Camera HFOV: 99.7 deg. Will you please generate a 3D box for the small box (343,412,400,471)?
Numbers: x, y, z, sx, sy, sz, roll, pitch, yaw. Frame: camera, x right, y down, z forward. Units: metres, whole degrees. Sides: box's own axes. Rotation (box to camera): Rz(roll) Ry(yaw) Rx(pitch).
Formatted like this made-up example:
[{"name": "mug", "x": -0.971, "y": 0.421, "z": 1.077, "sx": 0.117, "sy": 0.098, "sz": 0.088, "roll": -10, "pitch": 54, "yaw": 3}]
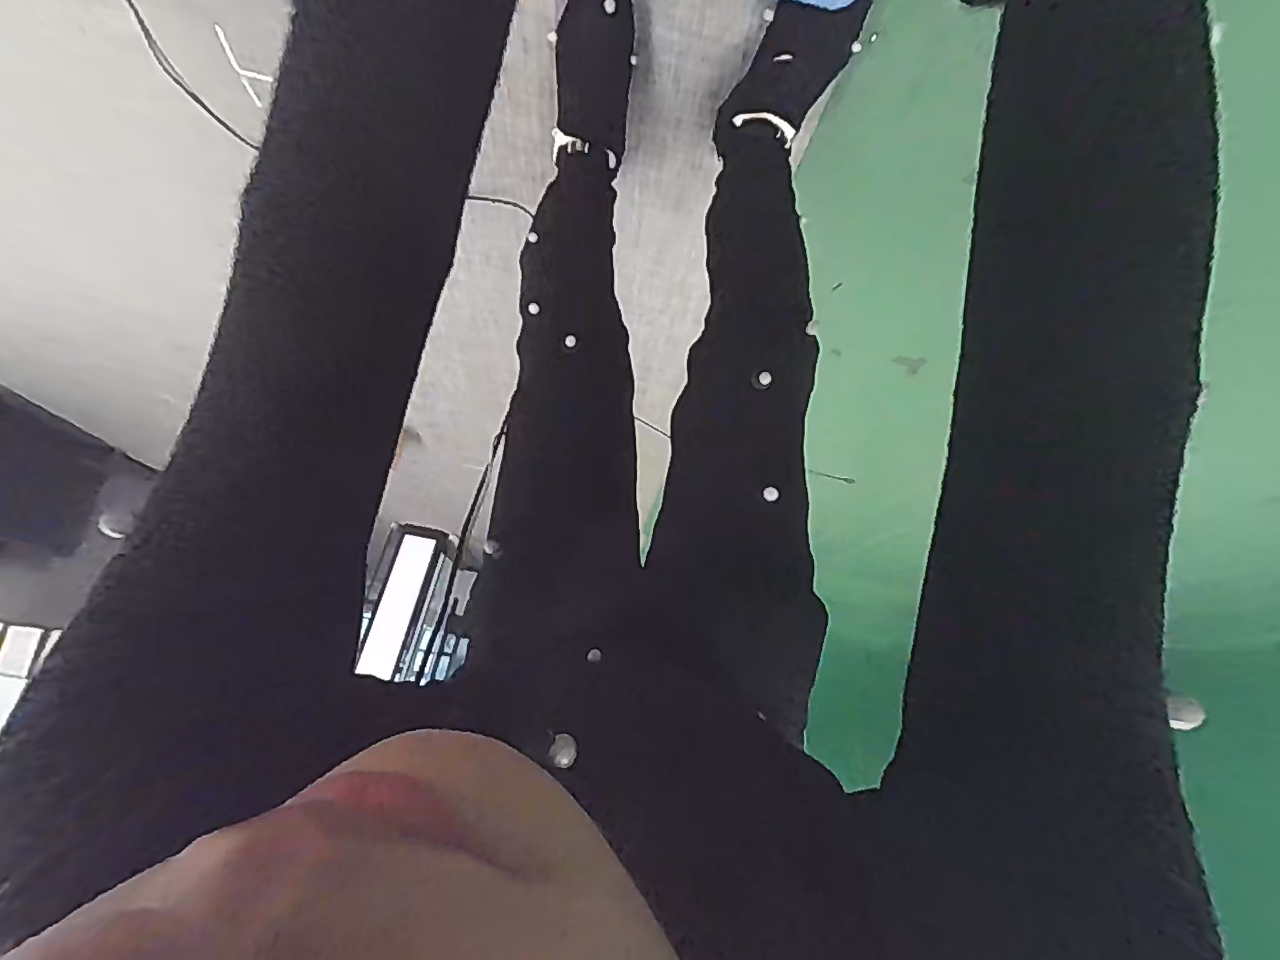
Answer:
[{"name": "small box", "x": -1.119, "y": -0.161, "z": 2.266, "sx": 0.168, "sy": 0.176, "sz": 0.179, "roll": 15, "pitch": 156, "yaw": -14}]
